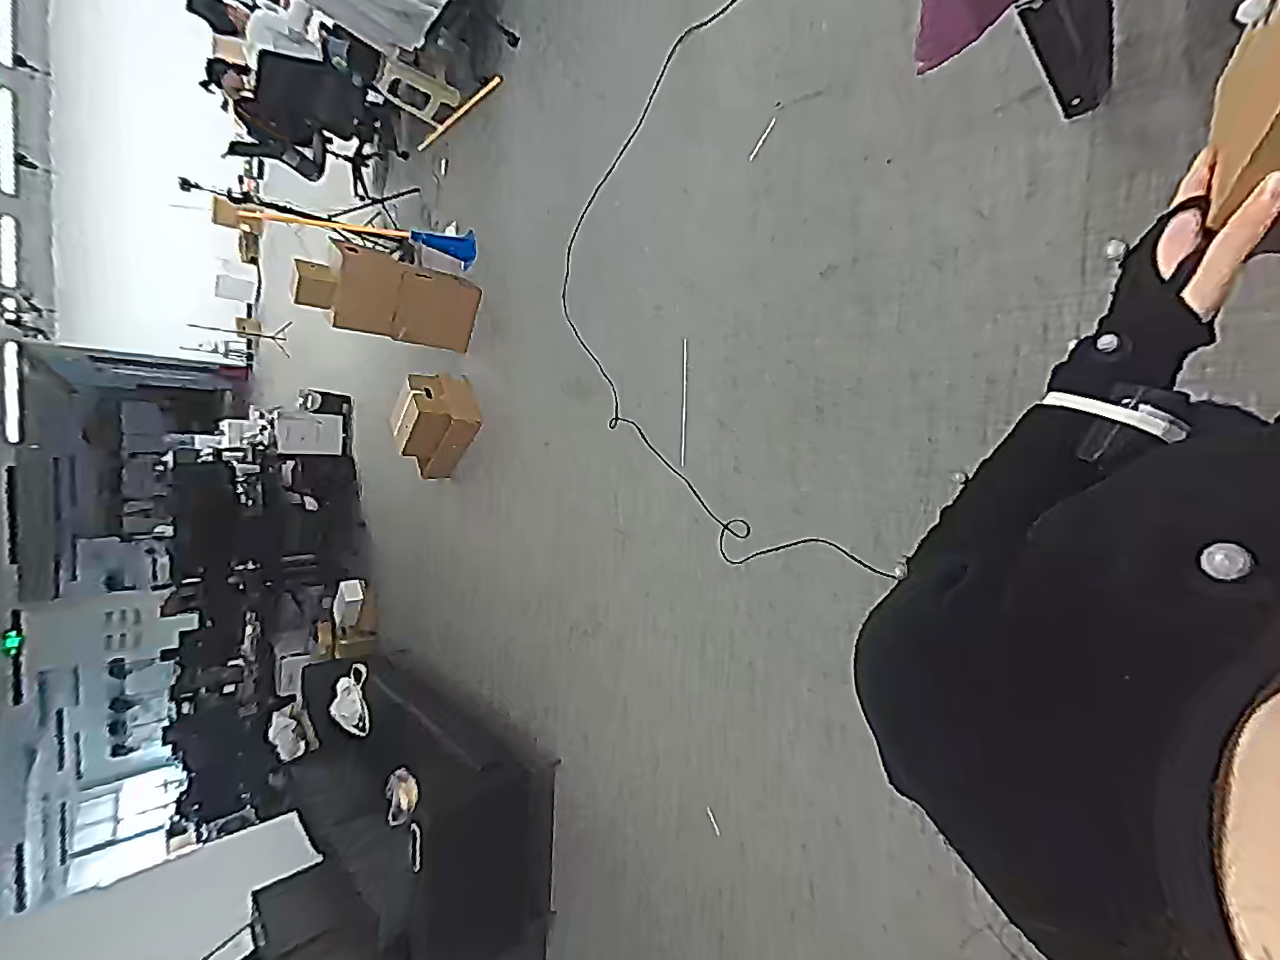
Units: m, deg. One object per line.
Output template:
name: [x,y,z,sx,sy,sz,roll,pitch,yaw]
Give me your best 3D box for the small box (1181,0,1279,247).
small box: [0.469,-0.258,0.306,0.179,0.168,0.176,16,74,30]
